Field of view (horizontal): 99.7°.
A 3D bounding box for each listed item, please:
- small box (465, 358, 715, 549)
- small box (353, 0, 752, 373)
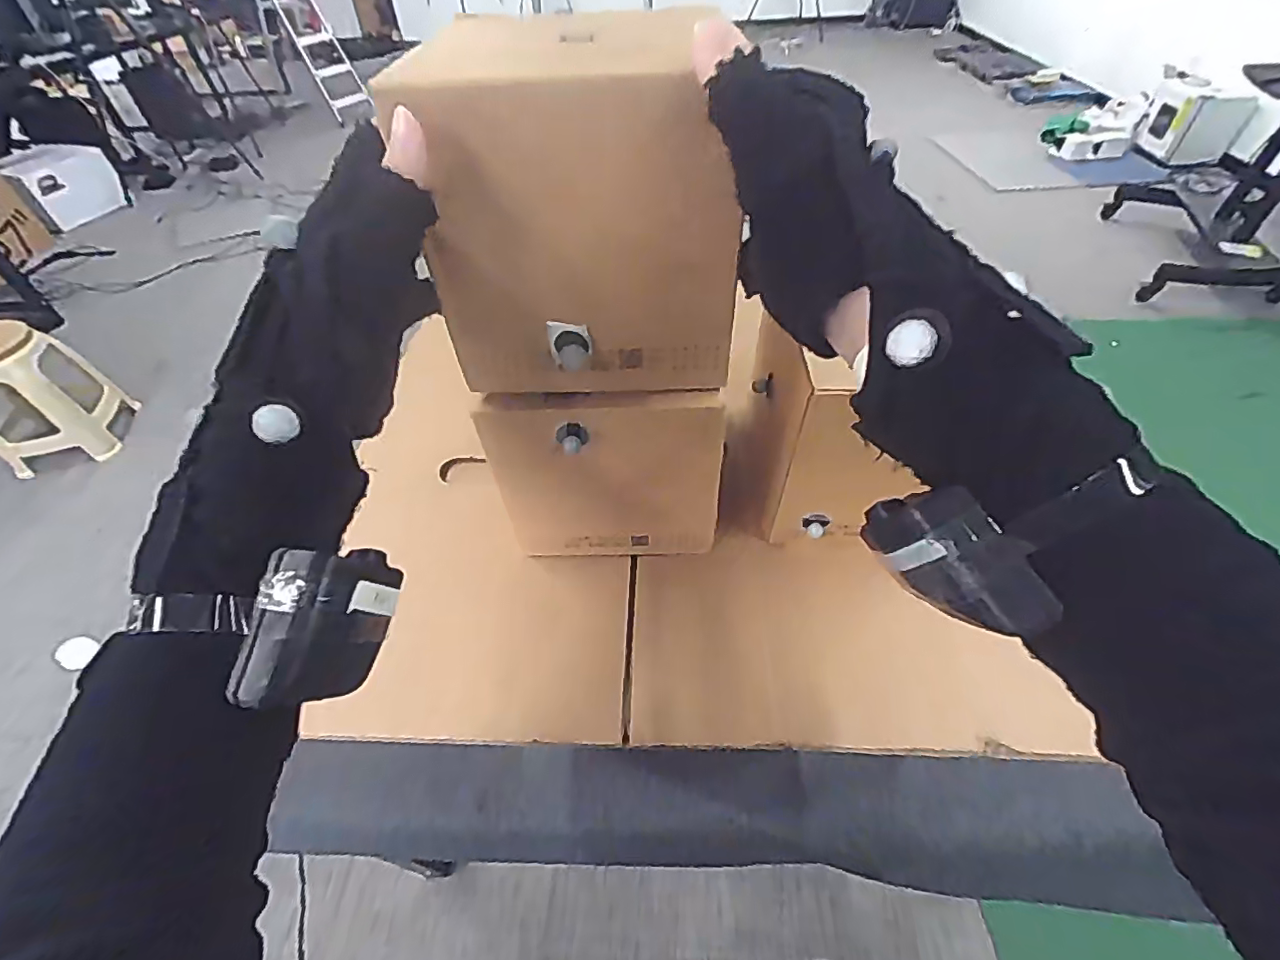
[{"bbox_3d":[-0.026,-0.061,0.460,0.168,0.176,0.179,-2,49,4],"label":"small box"},{"bbox_3d":[-0.035,-0.186,0.332,0.168,0.176,0.179,-3,50,1],"label":"small box"}]
